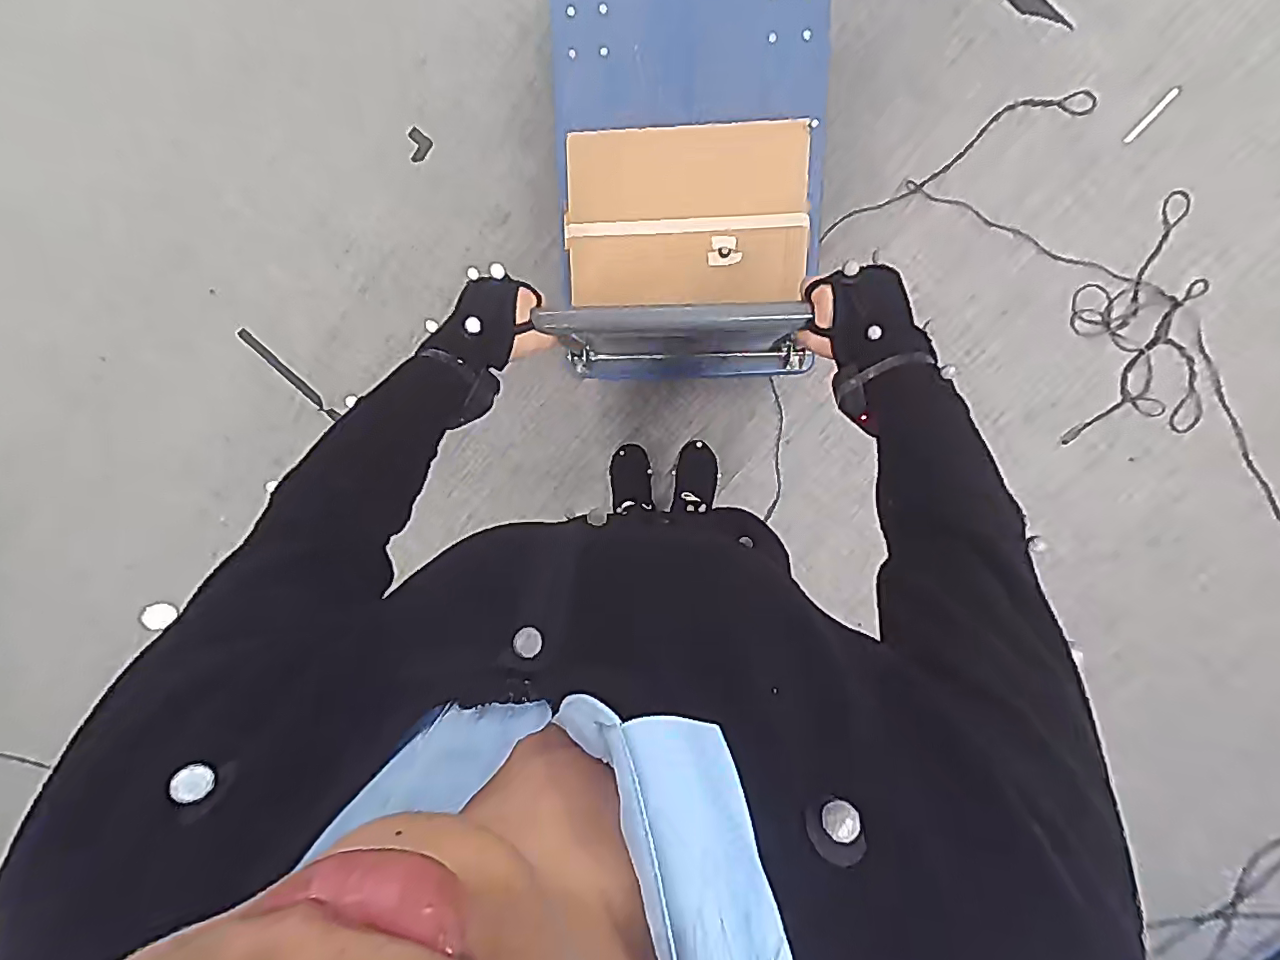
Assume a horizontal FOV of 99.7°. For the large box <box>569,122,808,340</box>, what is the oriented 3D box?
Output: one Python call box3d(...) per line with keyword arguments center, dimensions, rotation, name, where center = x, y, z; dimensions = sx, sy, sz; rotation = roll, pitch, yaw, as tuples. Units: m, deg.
box3d(center=(0.092, -0.456, 1.071), dimensions=(0.408, 0.320, 0.320), rotation=(0, 100, 5), name="large box")
